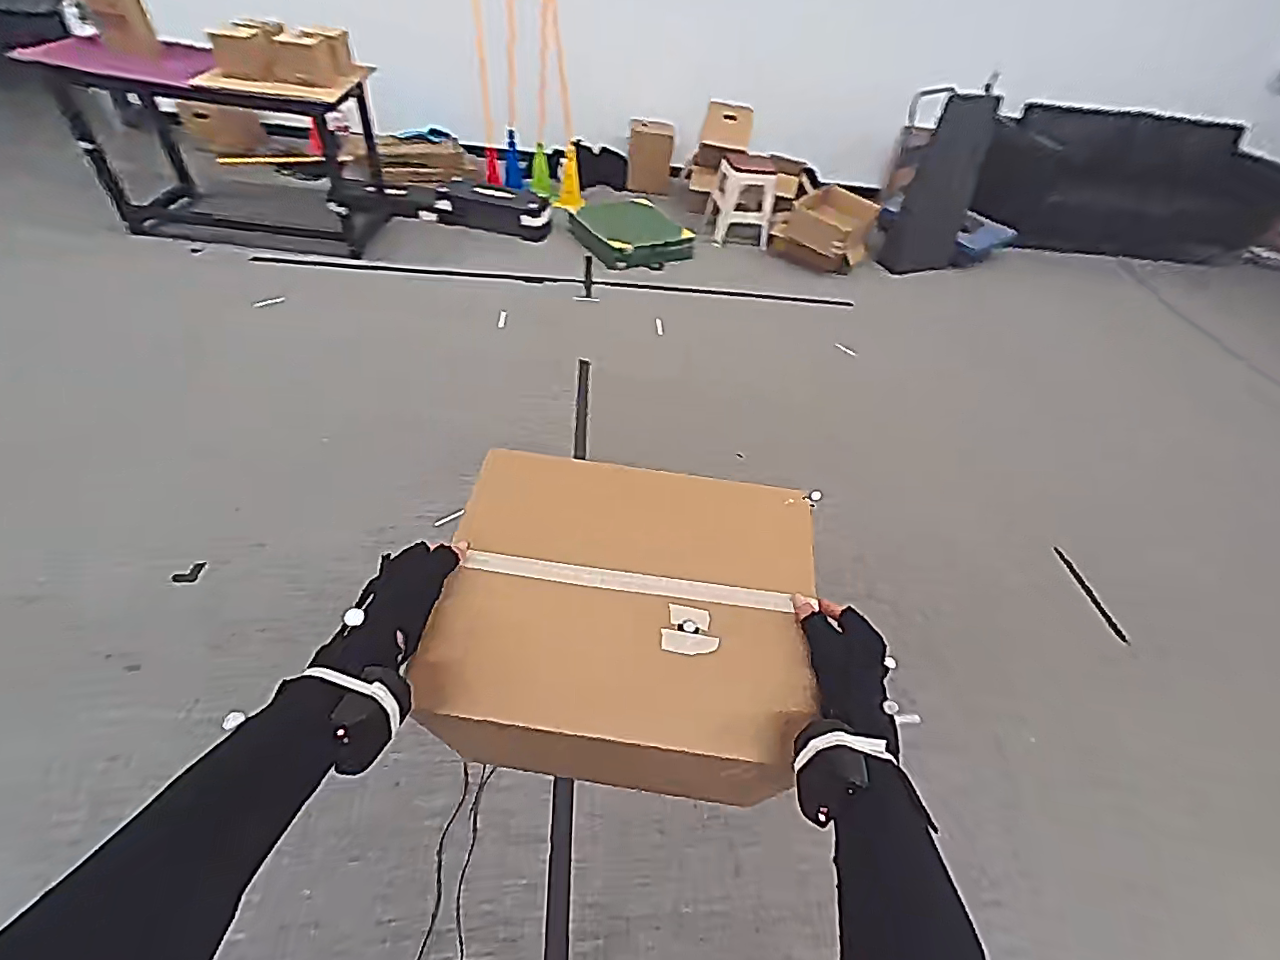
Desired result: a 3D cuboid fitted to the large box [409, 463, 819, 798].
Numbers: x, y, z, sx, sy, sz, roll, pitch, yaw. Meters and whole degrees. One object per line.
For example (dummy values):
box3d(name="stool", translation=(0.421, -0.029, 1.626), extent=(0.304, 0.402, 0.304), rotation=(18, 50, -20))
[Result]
box3d(name="large box", translation=(-0.022, 0.209, 0.718), extent=(0.408, 0.320, 0.320), rotation=(7, 54, 1))
